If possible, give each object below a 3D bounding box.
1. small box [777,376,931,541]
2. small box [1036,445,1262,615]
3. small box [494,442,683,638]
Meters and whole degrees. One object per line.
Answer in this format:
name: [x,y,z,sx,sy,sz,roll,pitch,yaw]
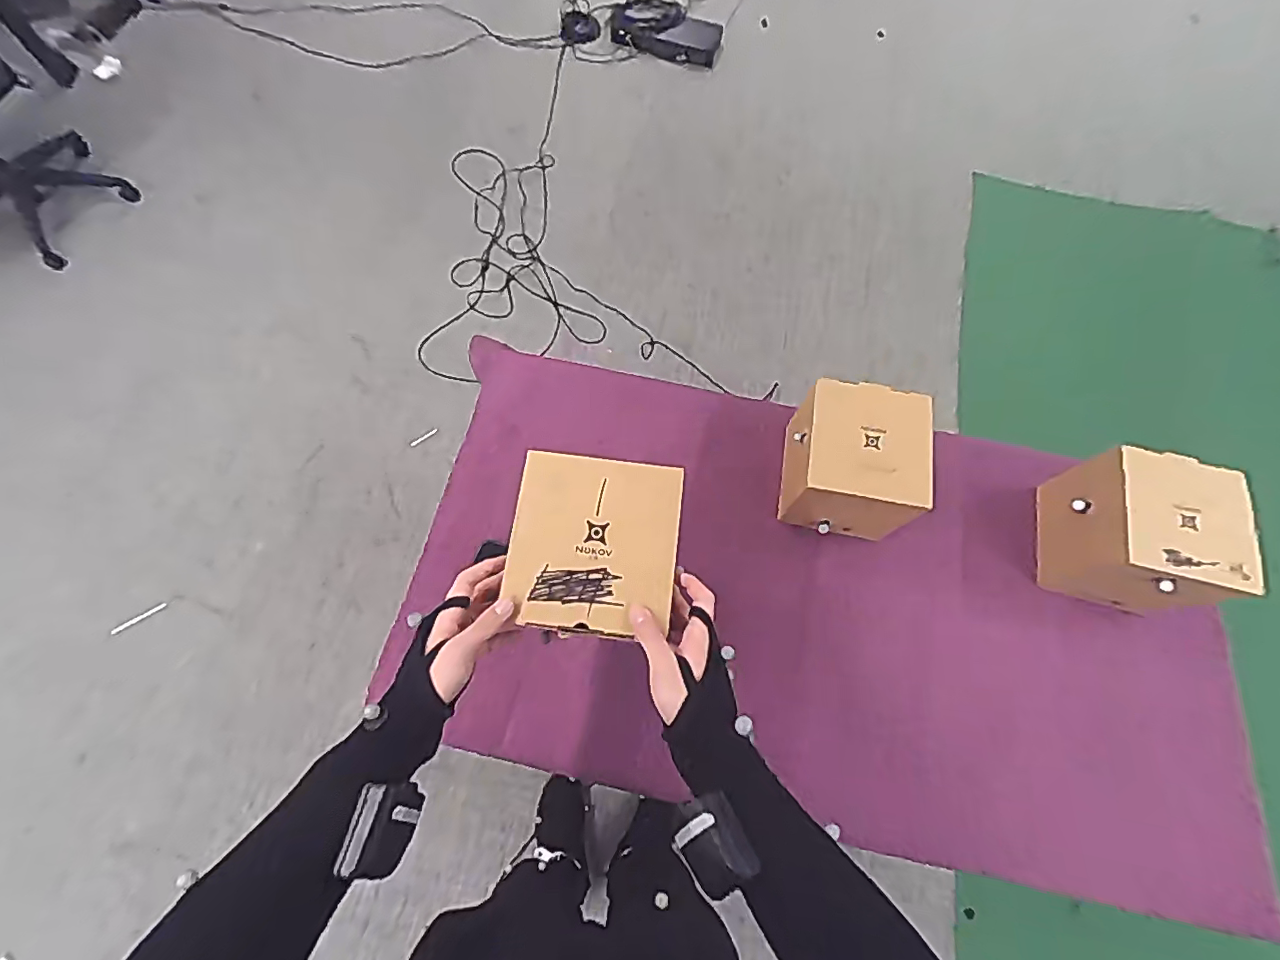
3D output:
small box: [0.312,-0.026,0.811,0.168,0.176,0.179,11,68,4]
small box: [0.708,0.079,0.778,0.168,0.176,0.179,14,68,5]
small box: [-0.048,0.077,0.608,0.168,0.176,0.179,8,71,0]
